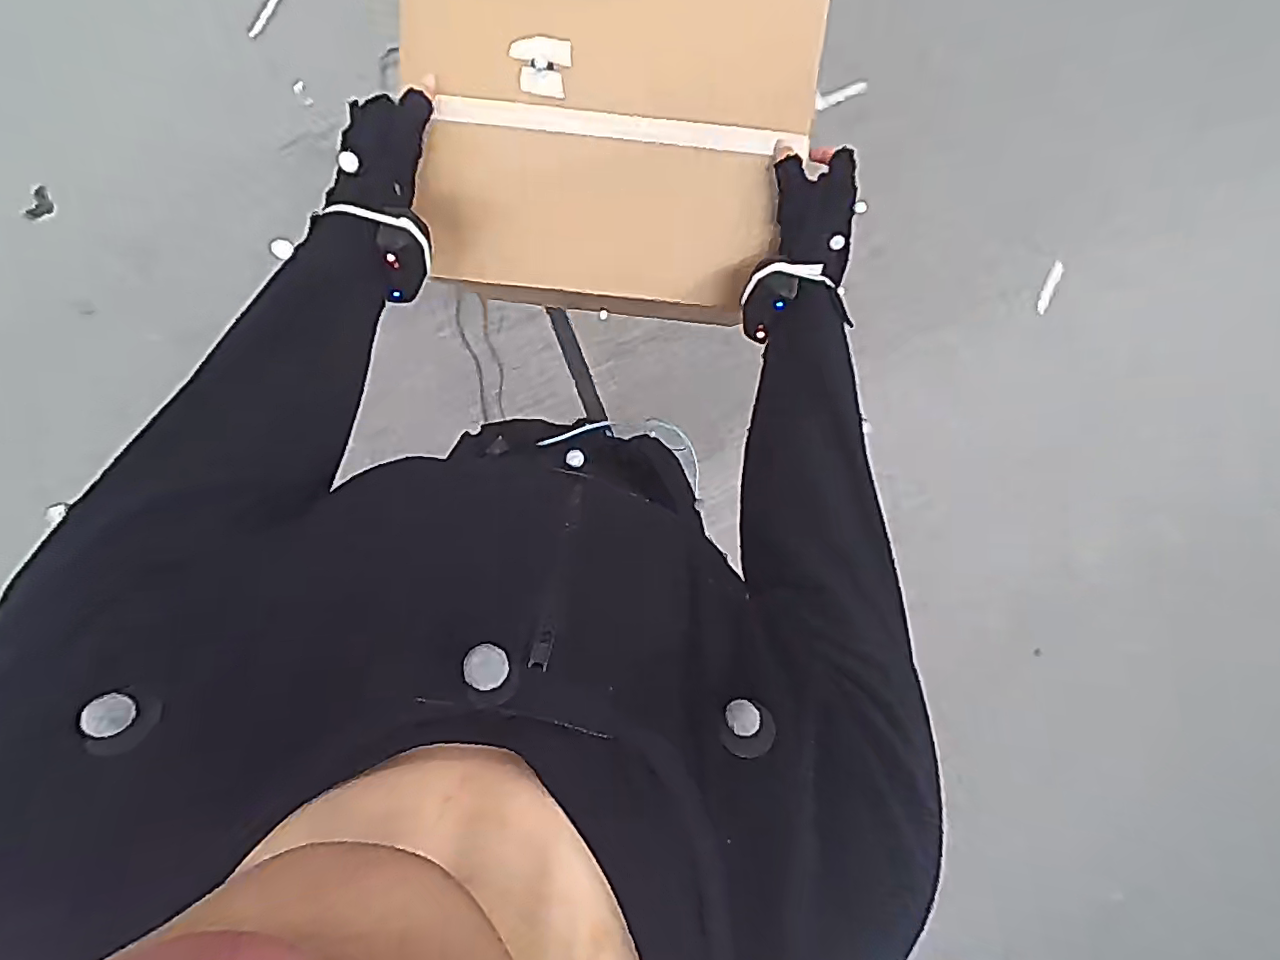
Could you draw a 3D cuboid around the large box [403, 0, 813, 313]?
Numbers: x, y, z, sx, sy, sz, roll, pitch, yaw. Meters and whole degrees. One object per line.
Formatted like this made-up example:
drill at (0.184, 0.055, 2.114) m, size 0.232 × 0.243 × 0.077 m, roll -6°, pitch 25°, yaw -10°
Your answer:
large box at (-0.037, -0.392, 0.688) m, size 0.408 × 0.320 × 0.320 m, roll 5°, pitch 103°, yaw -1°
